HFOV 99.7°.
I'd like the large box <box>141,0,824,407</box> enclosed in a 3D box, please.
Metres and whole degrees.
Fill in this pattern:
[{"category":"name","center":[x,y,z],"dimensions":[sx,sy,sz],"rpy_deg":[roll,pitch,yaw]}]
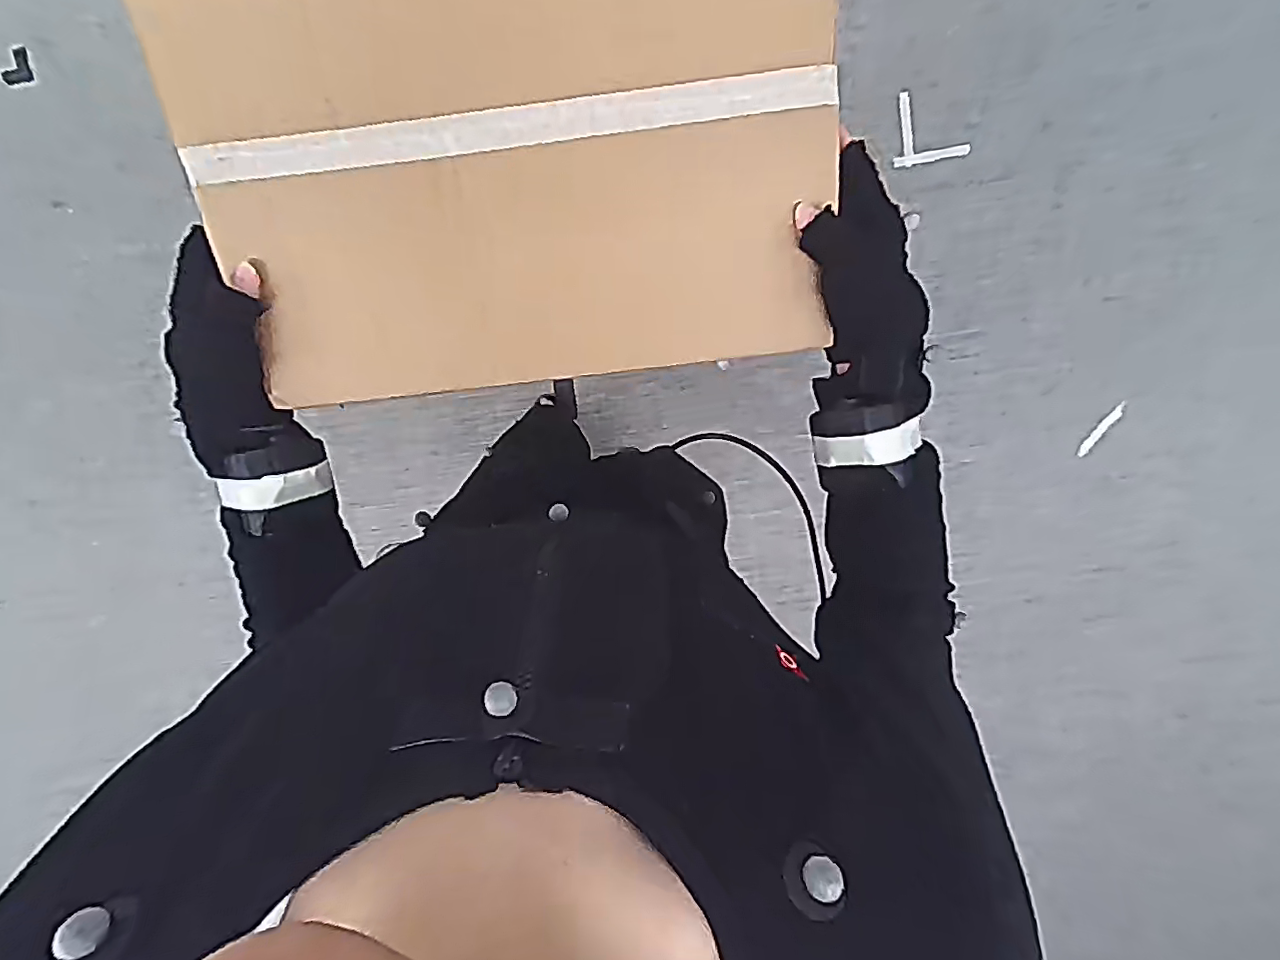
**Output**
[{"category":"large box","center":[-0.084,-0.274,0.480],"dimensions":[0.408,0.320,0.320],"rpy_deg":[-6,110,1]}]
